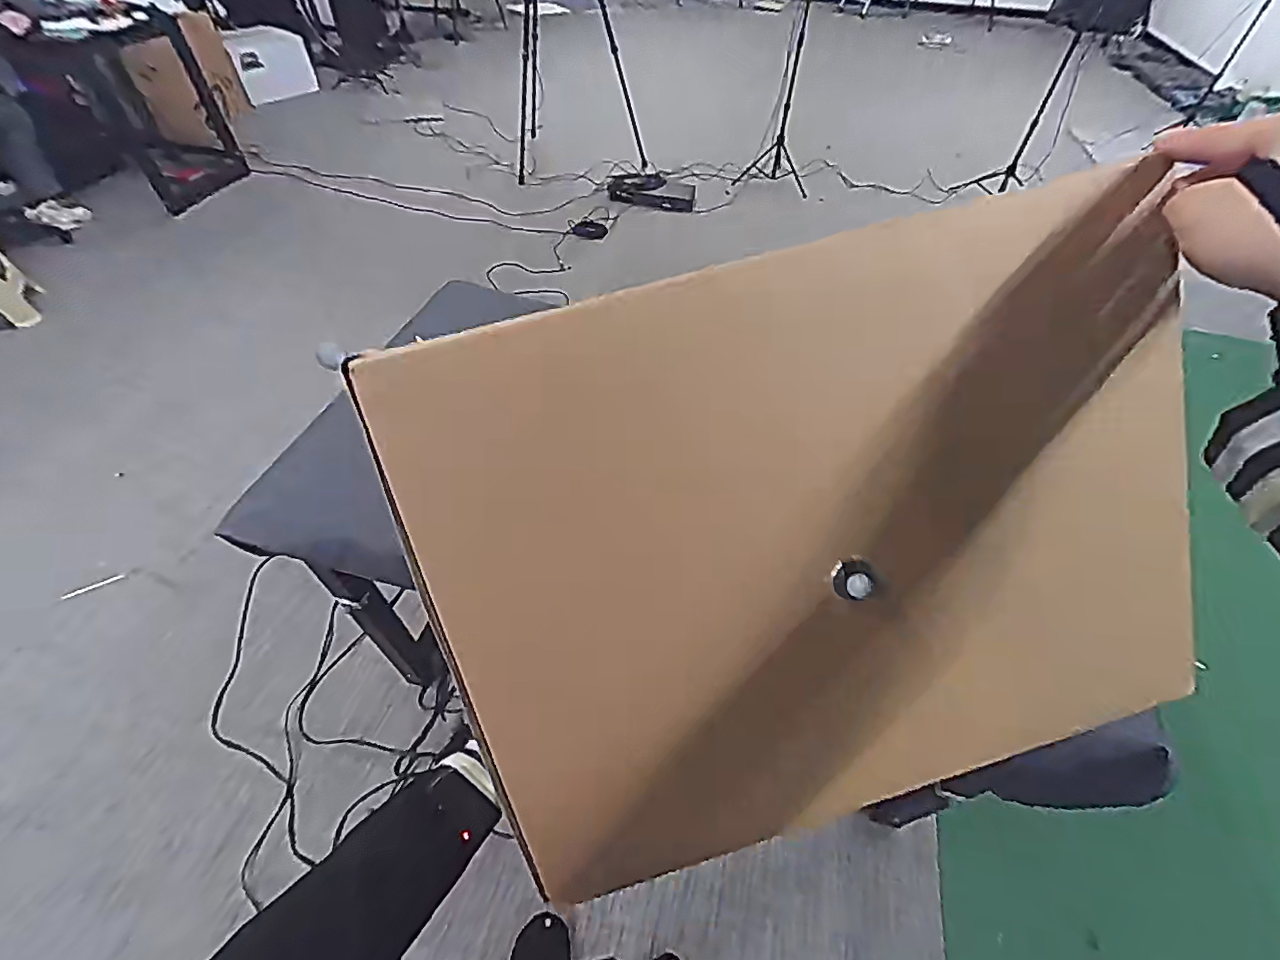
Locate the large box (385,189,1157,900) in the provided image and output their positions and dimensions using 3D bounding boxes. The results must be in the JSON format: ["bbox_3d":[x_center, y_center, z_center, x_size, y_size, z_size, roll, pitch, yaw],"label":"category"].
[{"bbox_3d":[0.090,0.019,0.438,0.408,0.320,0.320,-18,13,-5],"label":"large box"}]
